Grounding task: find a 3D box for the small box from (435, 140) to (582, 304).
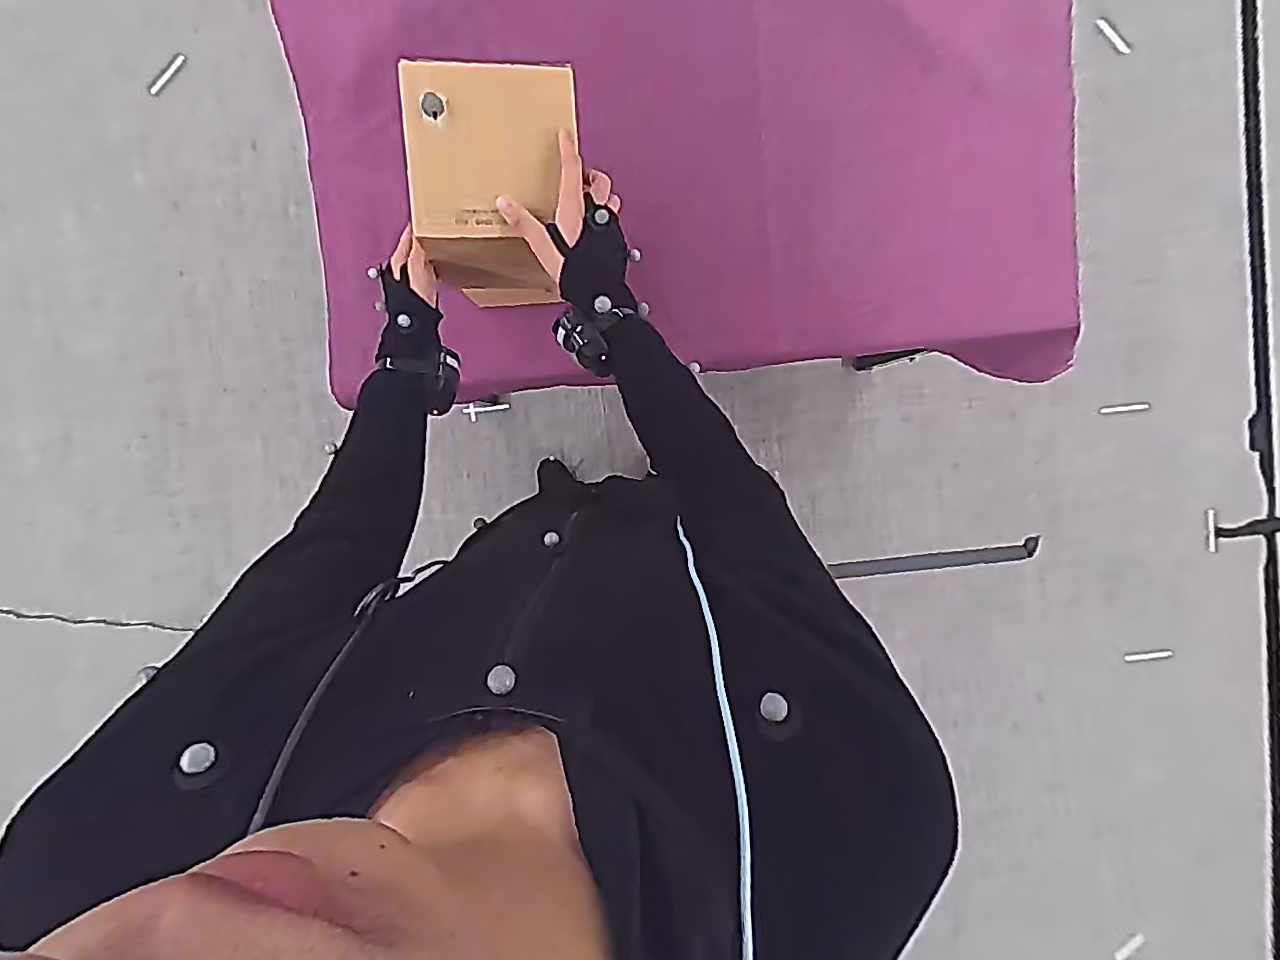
[{"bbox_3d":[-0.176,-0.360,0.781,0.179,0.176,0.168,-4,95,-2],"label":"small box"}]
